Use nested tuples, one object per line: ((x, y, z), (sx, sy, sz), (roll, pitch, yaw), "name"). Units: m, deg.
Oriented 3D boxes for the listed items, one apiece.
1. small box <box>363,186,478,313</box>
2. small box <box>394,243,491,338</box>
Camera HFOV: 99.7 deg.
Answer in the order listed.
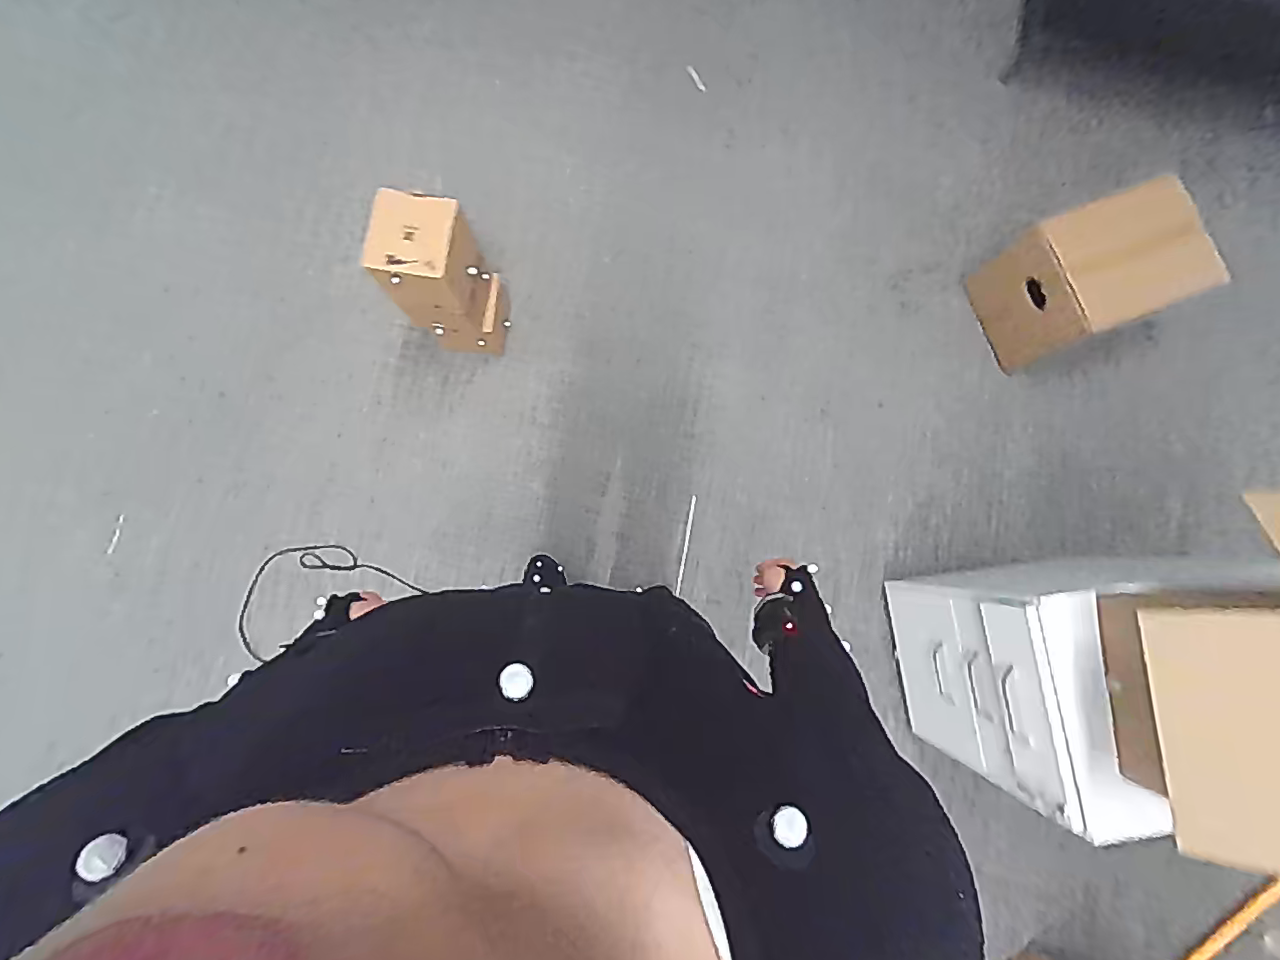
((-0.460, -0.488, 1.165), (0.168, 0.176, 0.179), (9, 81, -1), "small box")
((-0.475, -0.474, 1.328), (0.168, 0.176, 0.179), (9, 83, -1), "small box")
